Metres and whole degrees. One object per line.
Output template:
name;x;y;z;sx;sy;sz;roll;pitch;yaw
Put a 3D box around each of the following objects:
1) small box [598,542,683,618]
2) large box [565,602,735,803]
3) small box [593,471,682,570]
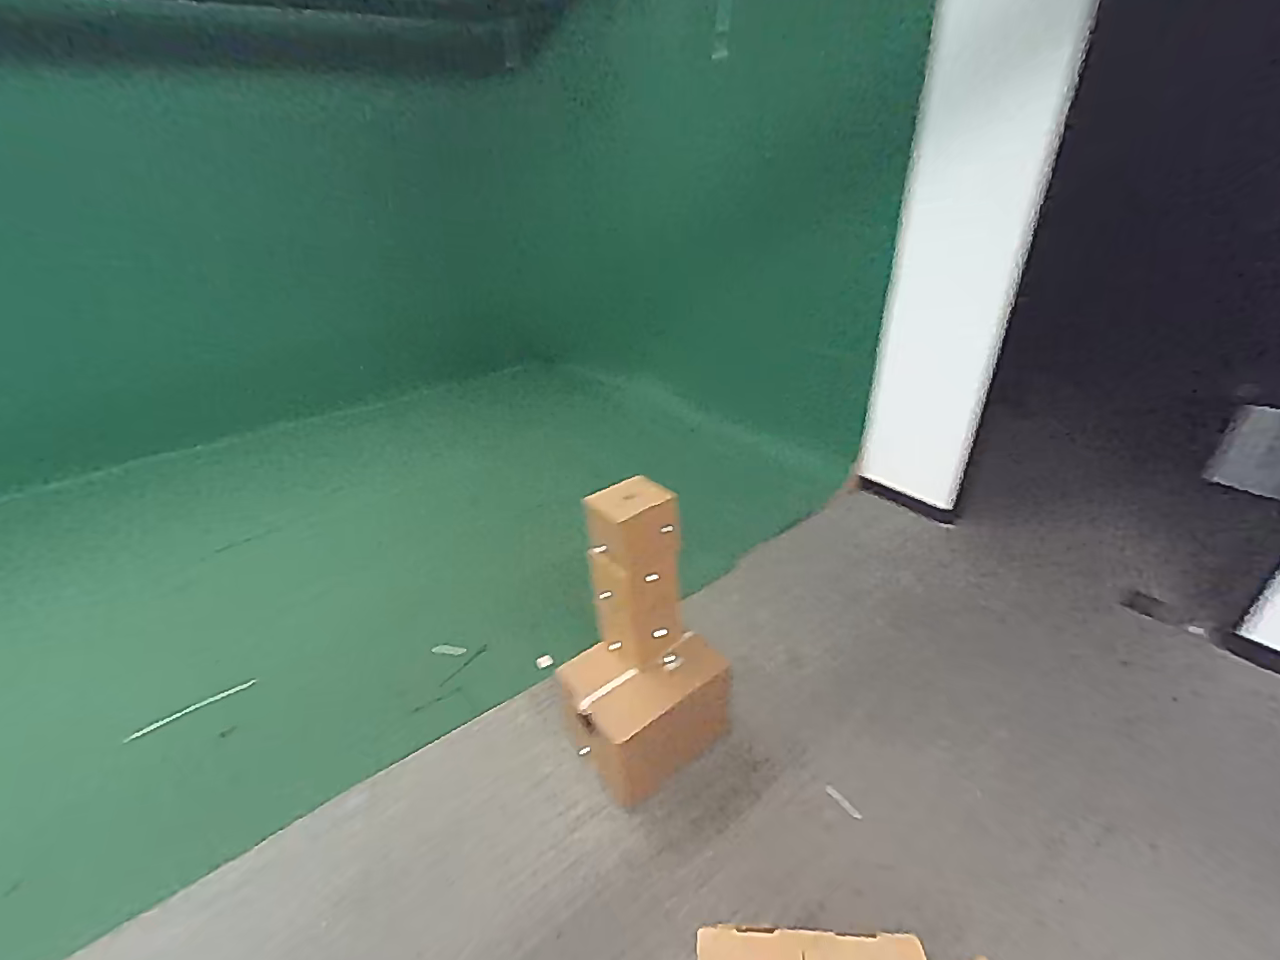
small box;0.004;0.248;1.503;0.179;0.176;0.168;-25;34;-29
large box;0.036;0.649;1.623;0.408;0.320;0.320;-23;35;-30
small box;-0.003;0.105;1.424;0.179;0.176;0.168;-24;33;-27
